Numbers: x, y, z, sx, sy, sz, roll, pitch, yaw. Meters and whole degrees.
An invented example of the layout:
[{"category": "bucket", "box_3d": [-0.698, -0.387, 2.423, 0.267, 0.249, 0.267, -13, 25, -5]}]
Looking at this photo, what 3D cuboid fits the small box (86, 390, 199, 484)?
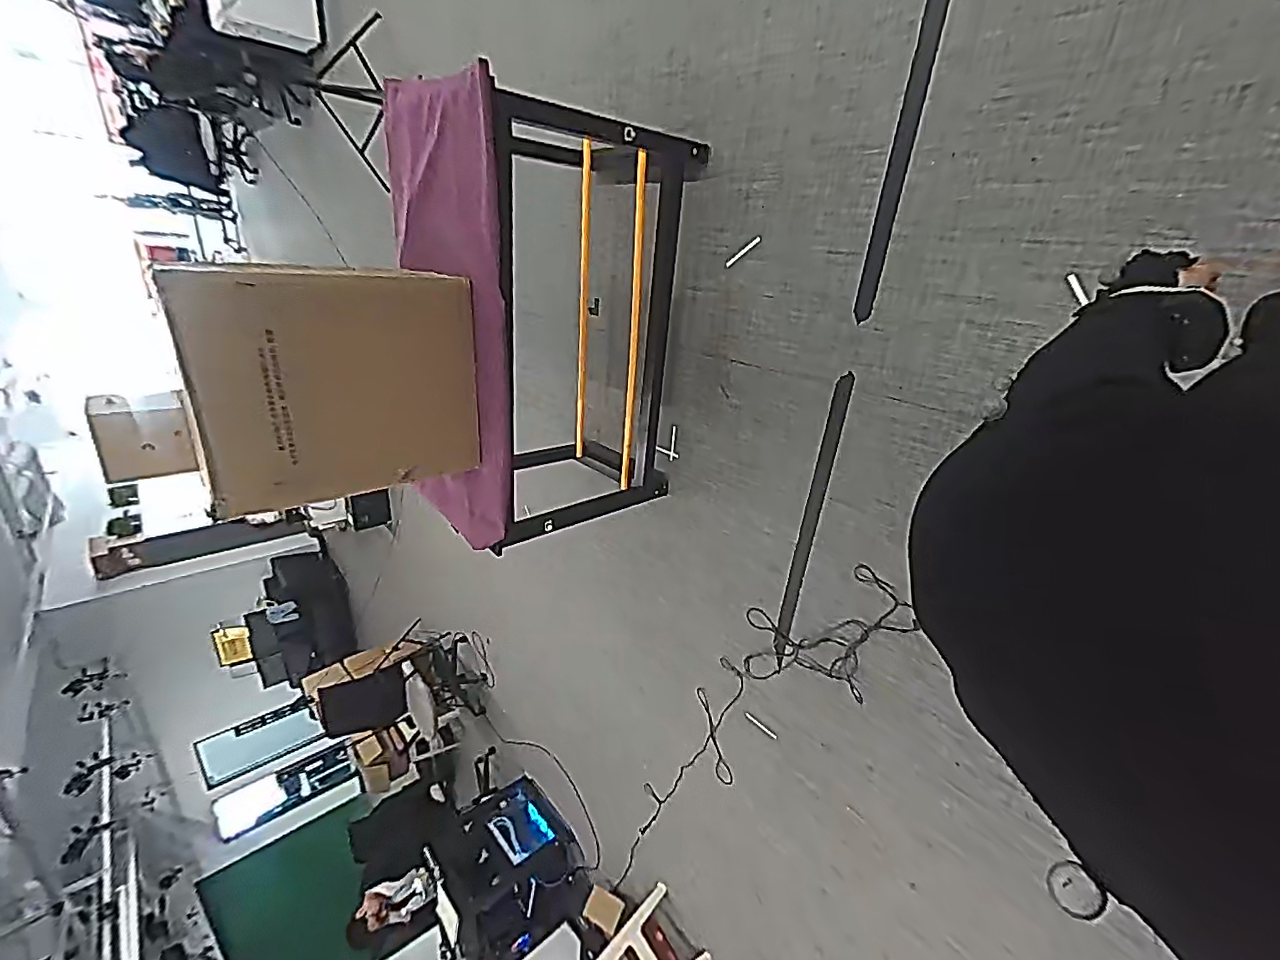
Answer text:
[{"category": "small box", "box_3d": [-1.177, -0.111, 1.287, 0.179, 0.176, 0.168, 29, 122, 41]}]
